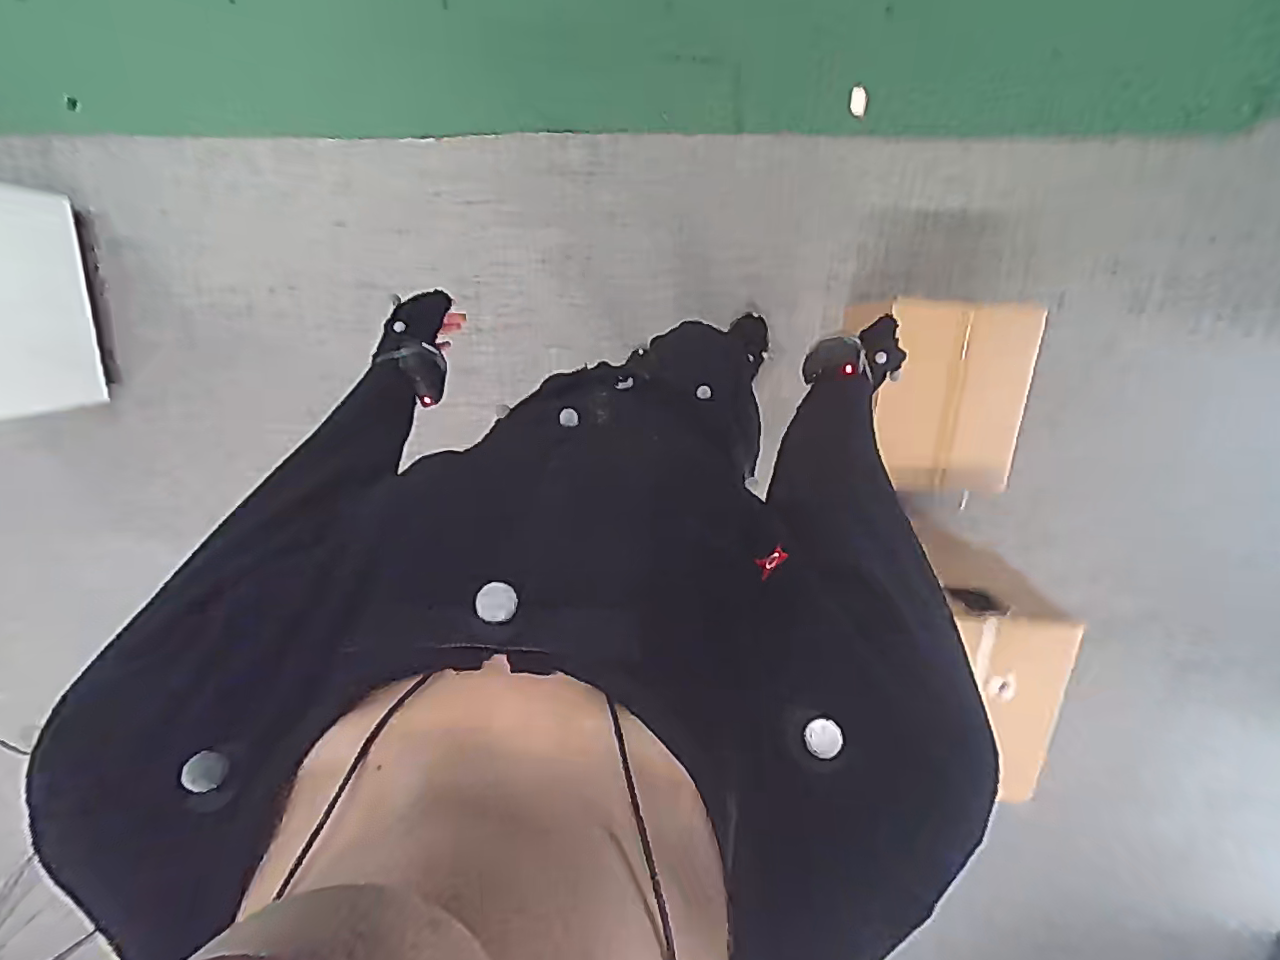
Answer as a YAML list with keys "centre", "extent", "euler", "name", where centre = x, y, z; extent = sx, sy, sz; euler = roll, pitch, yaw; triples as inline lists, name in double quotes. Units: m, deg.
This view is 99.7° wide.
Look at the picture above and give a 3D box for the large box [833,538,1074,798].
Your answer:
- centre: [0.615, 0.374, 1.146]
  extent: [0.320, 0.320, 0.408]
  euler: [4, 107, 6]
  name: "large box"
